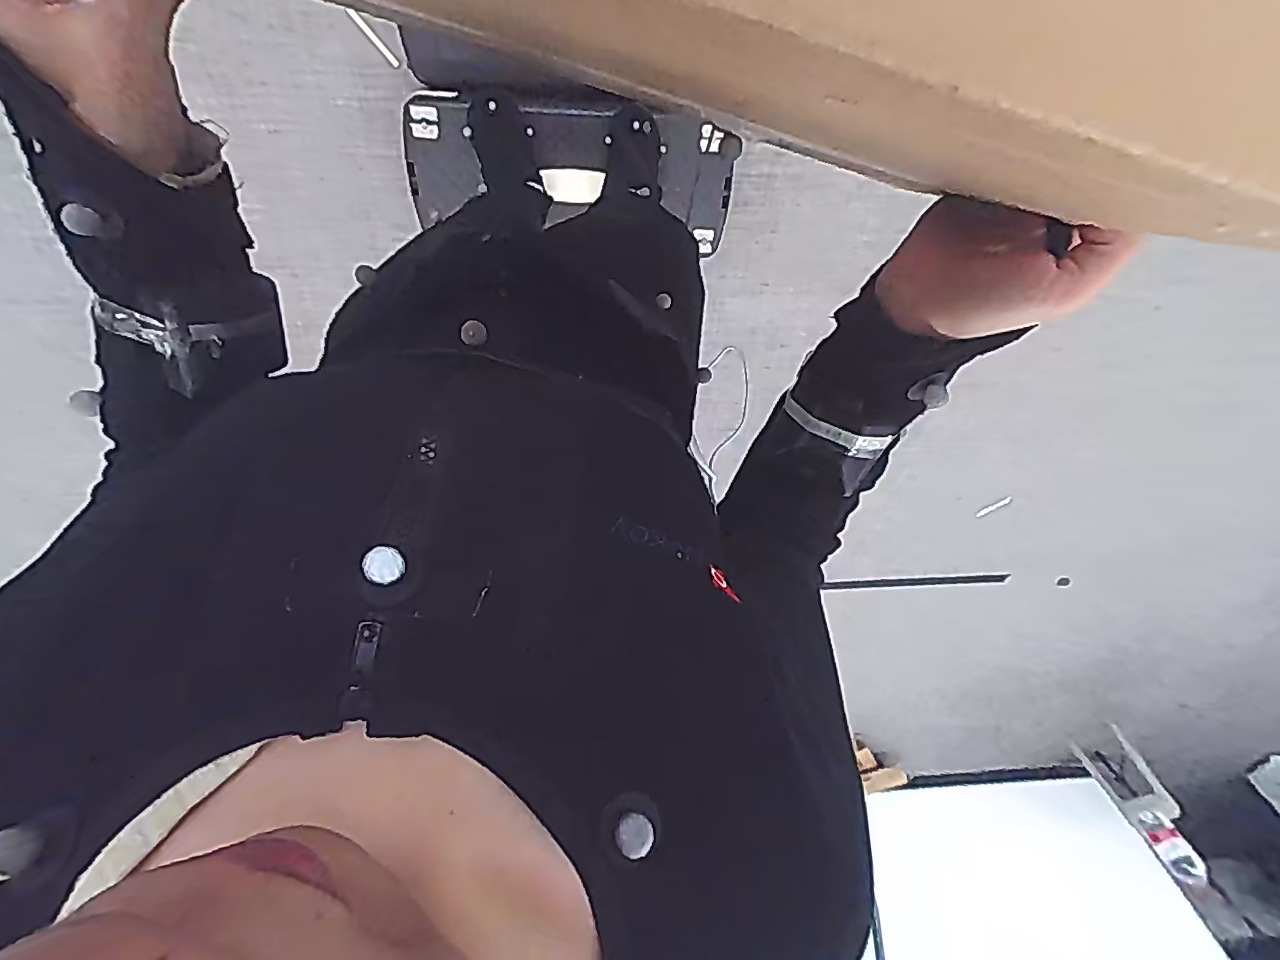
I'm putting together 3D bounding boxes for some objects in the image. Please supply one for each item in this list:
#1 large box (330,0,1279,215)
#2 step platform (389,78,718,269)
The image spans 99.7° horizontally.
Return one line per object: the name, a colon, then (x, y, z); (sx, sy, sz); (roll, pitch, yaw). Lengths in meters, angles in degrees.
large box: (0.012, -0.299, 0.137); (0.408, 0.320, 0.320); (11, 123, -7)
step platform: (-0.175, -0.660, 1.188); (0.684, 0.204, 0.286); (4, 128, -7)
